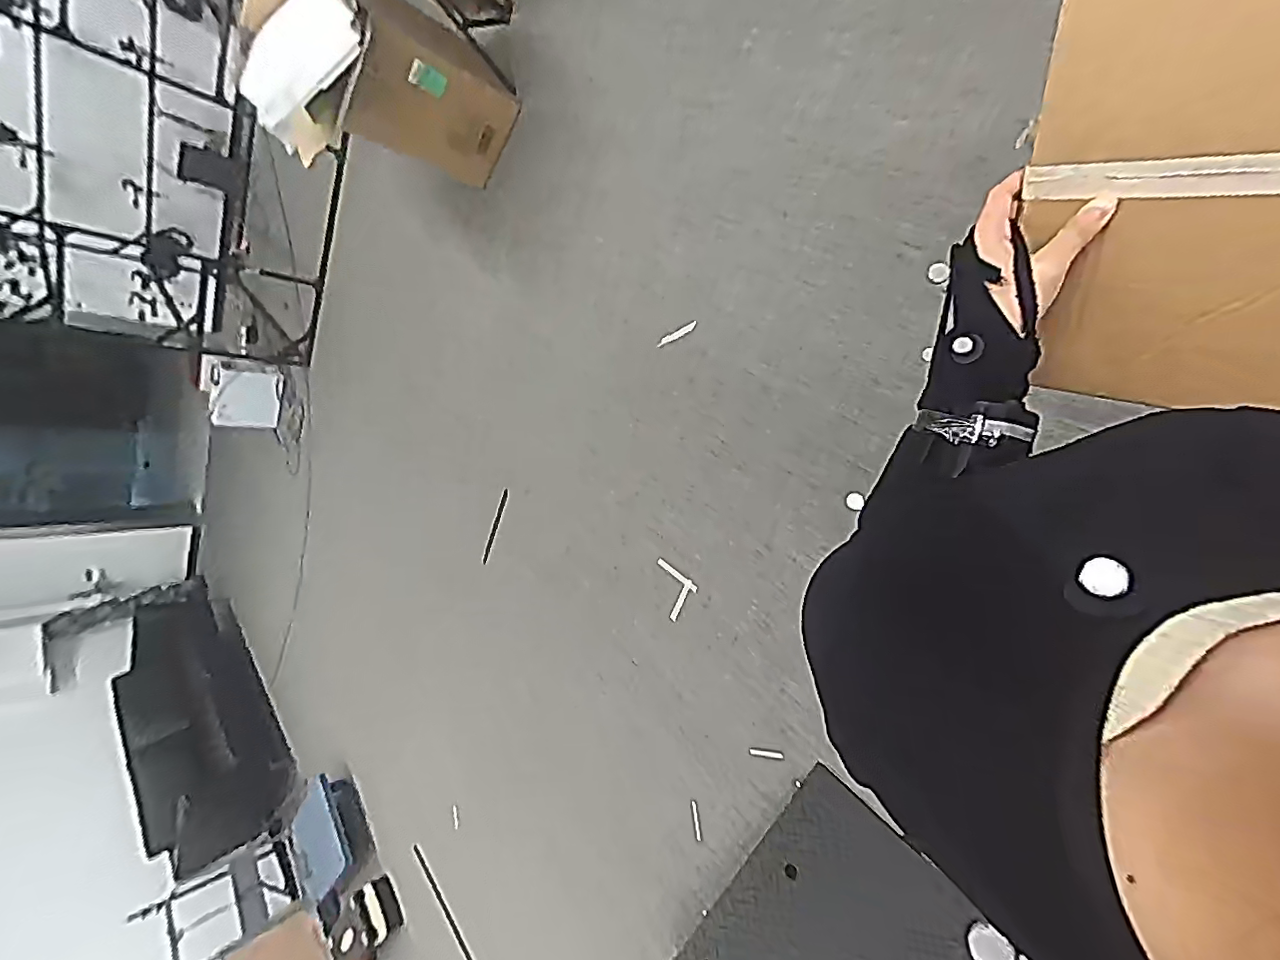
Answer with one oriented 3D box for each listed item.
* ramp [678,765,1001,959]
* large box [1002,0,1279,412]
[{"bbox_3d":[0.427,1.318,1.456,0.509,0.206,0.991,36,113,35],"label":"ramp"},{"bbox_3d":[0.513,-0.240,0.326,0.408,0.320,0.320,22,142,41],"label":"large box"}]
